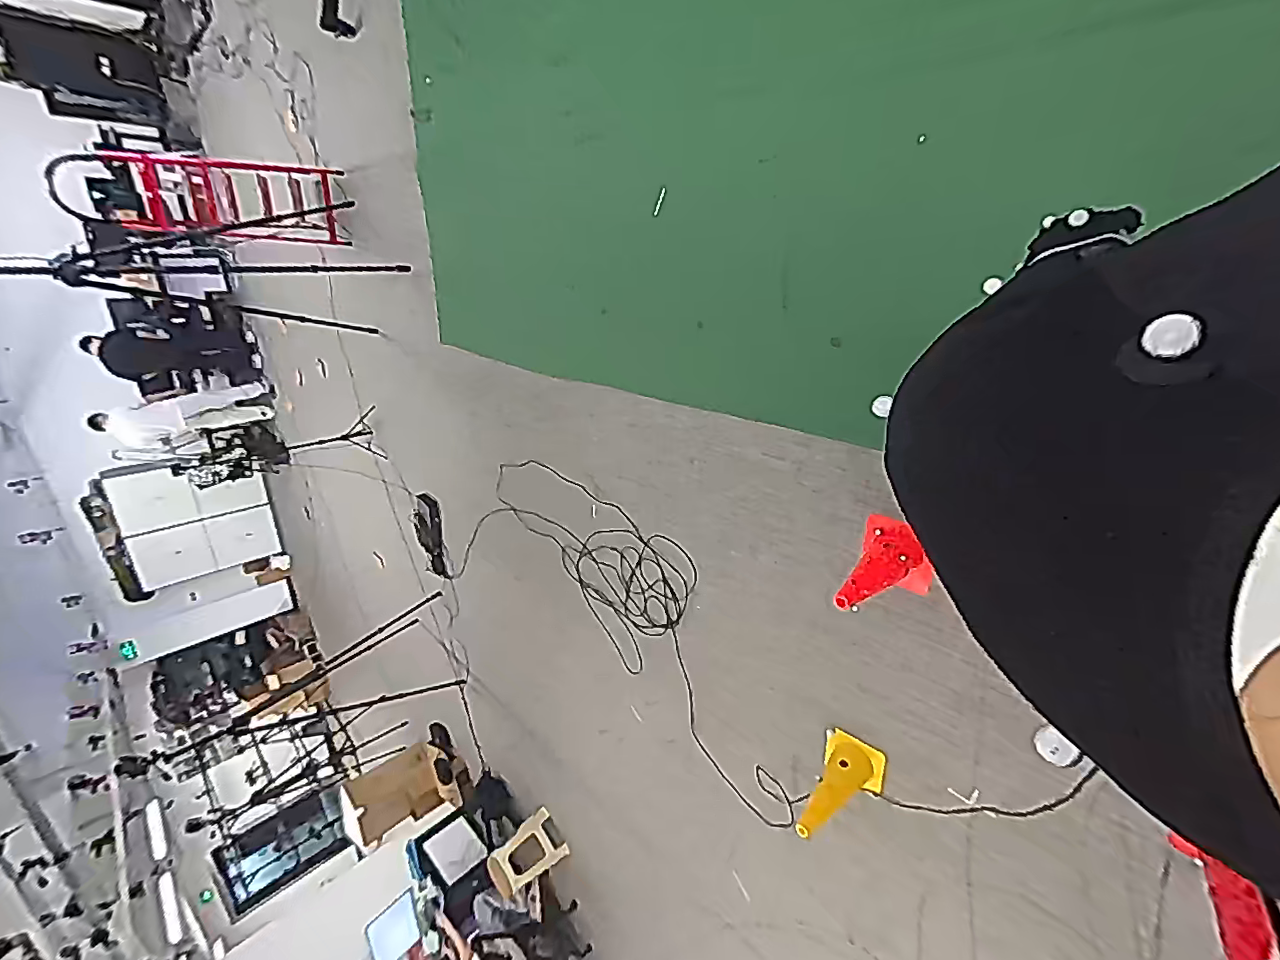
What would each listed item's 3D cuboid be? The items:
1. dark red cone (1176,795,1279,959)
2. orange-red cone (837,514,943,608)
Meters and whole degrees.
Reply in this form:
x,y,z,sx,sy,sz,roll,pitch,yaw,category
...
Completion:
x,y,z,sx,sy,sz,roll,pitch,yaw,category
1.182,0.834,1.047,0.202,0.394,0.201,14,114,43,dark red cone
0.632,0.256,1.448,0.198,0.360,0.199,22,121,42,orange-red cone
